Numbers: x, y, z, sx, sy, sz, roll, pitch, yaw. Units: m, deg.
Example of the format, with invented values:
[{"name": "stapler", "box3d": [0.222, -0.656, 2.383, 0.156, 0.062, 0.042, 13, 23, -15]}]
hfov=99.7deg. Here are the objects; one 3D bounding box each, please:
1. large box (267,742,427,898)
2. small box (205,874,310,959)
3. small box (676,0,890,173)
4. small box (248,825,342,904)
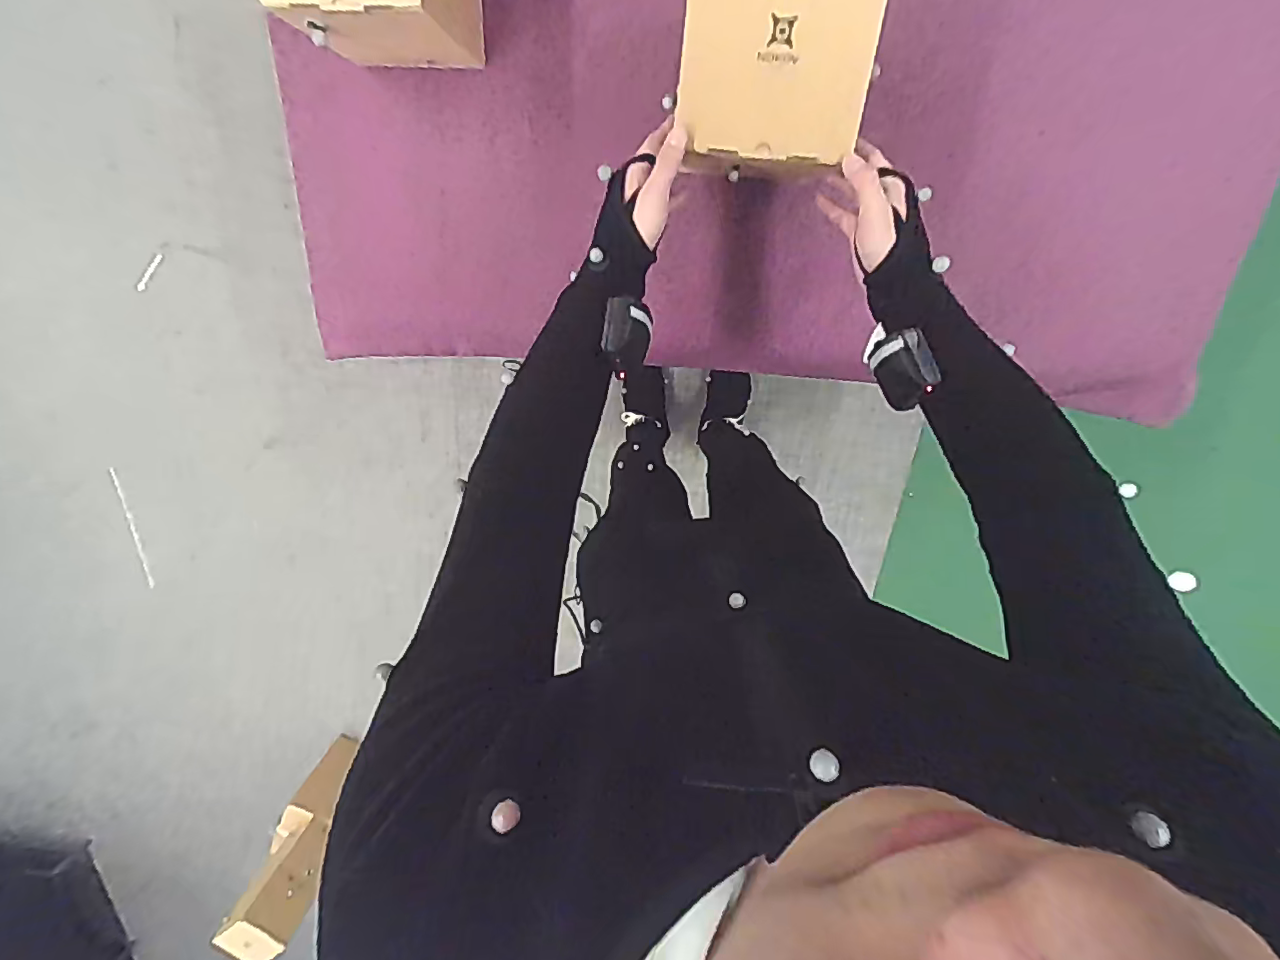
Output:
[{"name": "large box", "box3d": [-1.108, 1.291, 2.072, 0.408, 0.320, 0.320, 27, 112, -7]}, {"name": "small box", "box3d": [-1.168, 1.372, 1.666, 0.179, 0.176, 0.168, -41, 103, 16]}, {"name": "small box", "box3d": [0.125, -0.413, 0.527, 0.168, 0.176, 0.179, 5, 116, 1]}, {"name": "small box", "box3d": [-1.152, 1.316, 1.822, 0.179, 0.176, 0.168, -40, 103, 17]}]
